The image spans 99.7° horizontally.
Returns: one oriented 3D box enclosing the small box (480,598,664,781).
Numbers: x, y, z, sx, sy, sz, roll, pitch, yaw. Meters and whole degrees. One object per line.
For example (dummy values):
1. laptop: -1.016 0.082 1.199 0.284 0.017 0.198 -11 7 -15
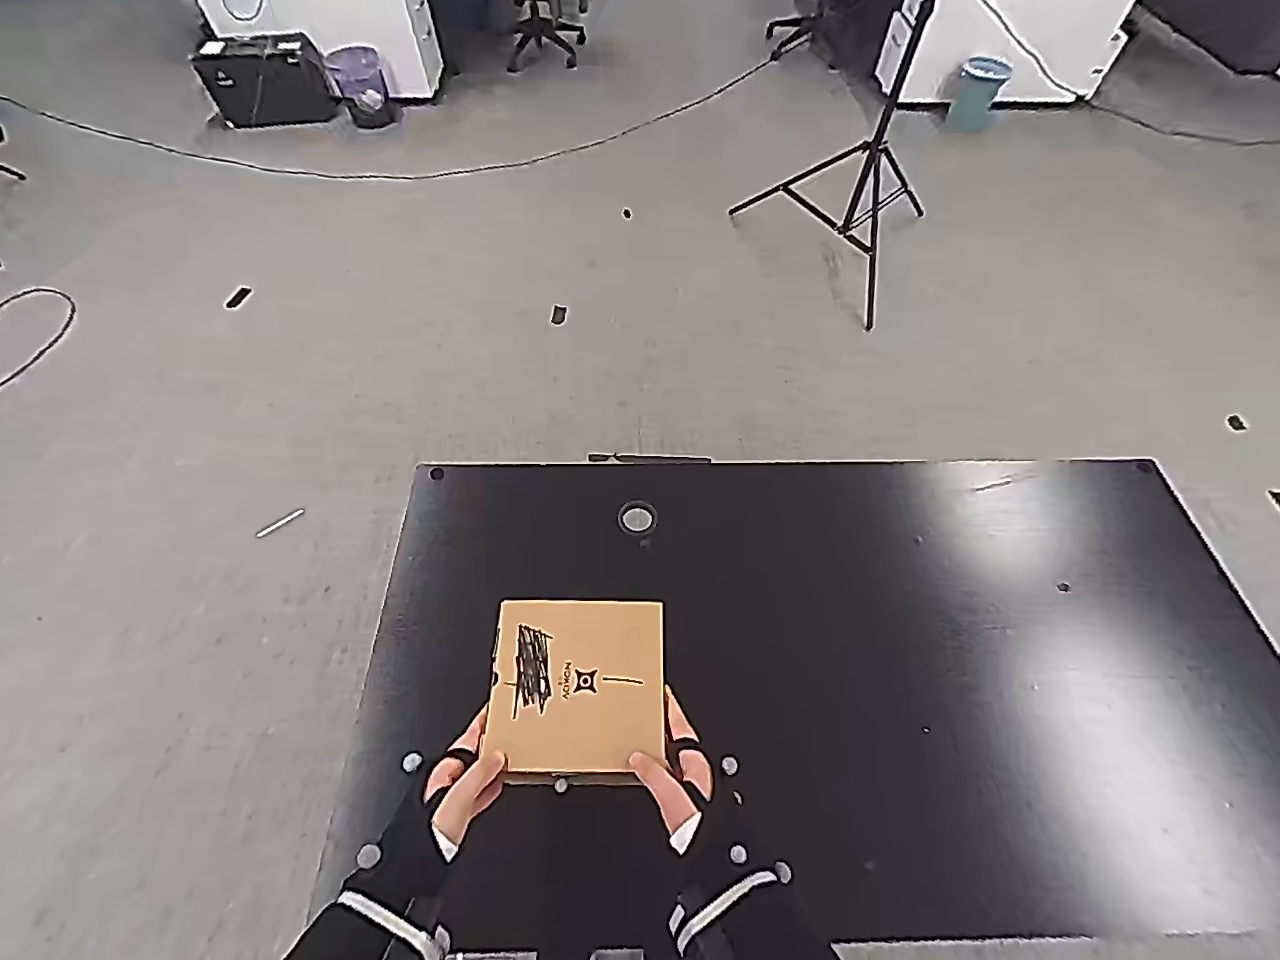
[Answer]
1. small box: -0.064 0.242 0.613 0.179 0.176 0.168 1 57 -1
